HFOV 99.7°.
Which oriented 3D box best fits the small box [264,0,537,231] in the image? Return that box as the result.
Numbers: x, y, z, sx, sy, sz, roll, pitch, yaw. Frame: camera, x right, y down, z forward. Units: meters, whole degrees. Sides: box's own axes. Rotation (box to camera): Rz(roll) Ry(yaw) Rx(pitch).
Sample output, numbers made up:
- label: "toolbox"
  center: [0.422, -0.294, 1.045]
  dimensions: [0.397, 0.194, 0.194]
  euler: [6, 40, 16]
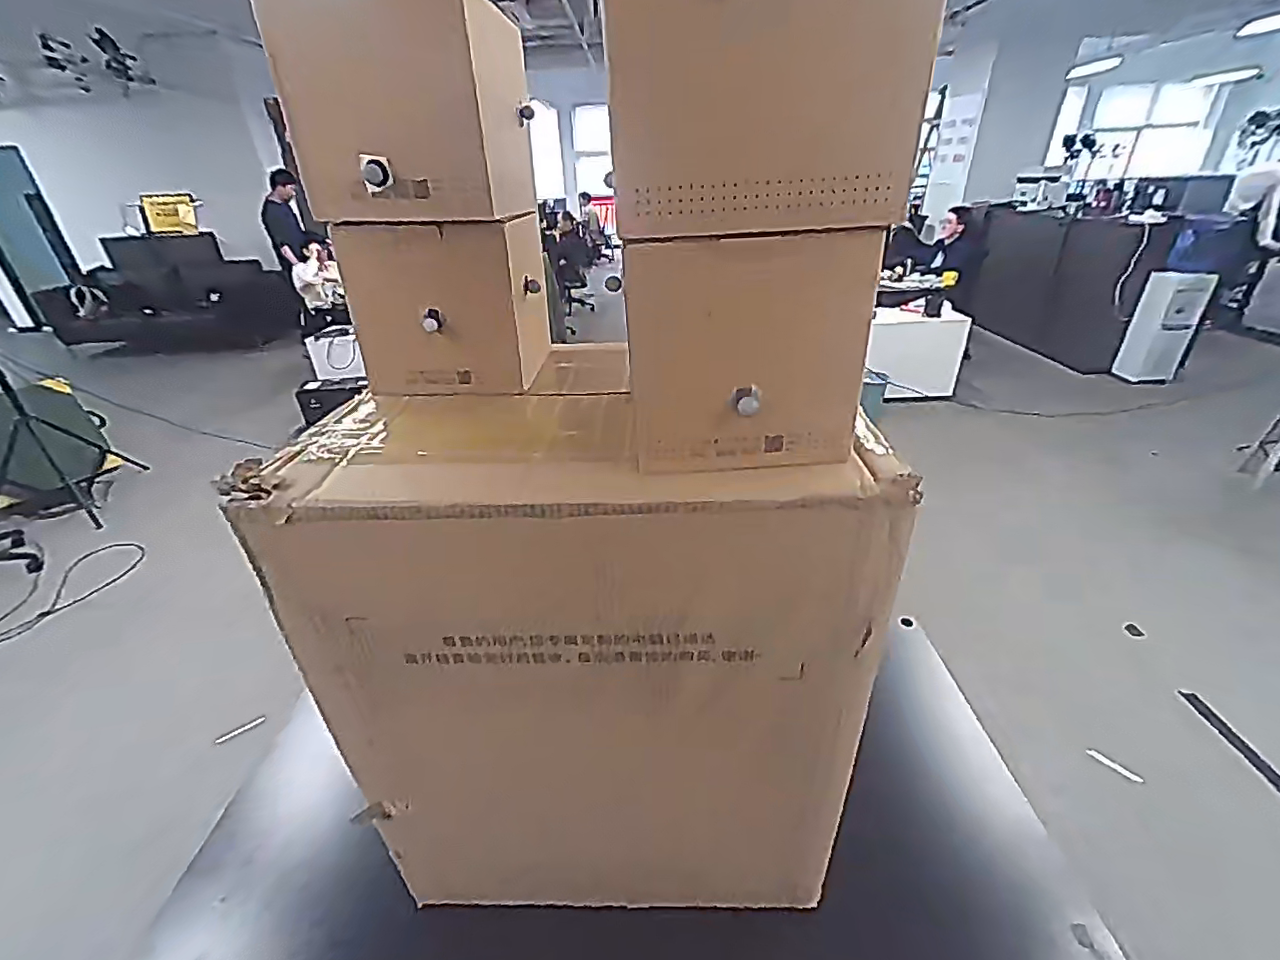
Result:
- label: "small box"
  center: [-0.198, -0.334, 0.506]
  dimensions: [0.168, 0.176, 0.179]
  euler: [0, 30, 3]

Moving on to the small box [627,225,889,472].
- label: "small box"
  center: [0.075, -0.121, 0.445]
  dimensions: [0.168, 0.176, 0.179]
  euler: [-4, 31, 0]

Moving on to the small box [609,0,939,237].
- label: "small box"
  center: [0.073, -0.257, 0.352]
  dimensions: [0.179, 0.176, 0.168]
  euler: [-2, 31, 2]

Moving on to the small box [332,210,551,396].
- label: "small box"
  center: [-0.197, -0.199, 0.600]
  dimensions: [0.168, 0.176, 0.179]
  euler: [0, 30, 1]
